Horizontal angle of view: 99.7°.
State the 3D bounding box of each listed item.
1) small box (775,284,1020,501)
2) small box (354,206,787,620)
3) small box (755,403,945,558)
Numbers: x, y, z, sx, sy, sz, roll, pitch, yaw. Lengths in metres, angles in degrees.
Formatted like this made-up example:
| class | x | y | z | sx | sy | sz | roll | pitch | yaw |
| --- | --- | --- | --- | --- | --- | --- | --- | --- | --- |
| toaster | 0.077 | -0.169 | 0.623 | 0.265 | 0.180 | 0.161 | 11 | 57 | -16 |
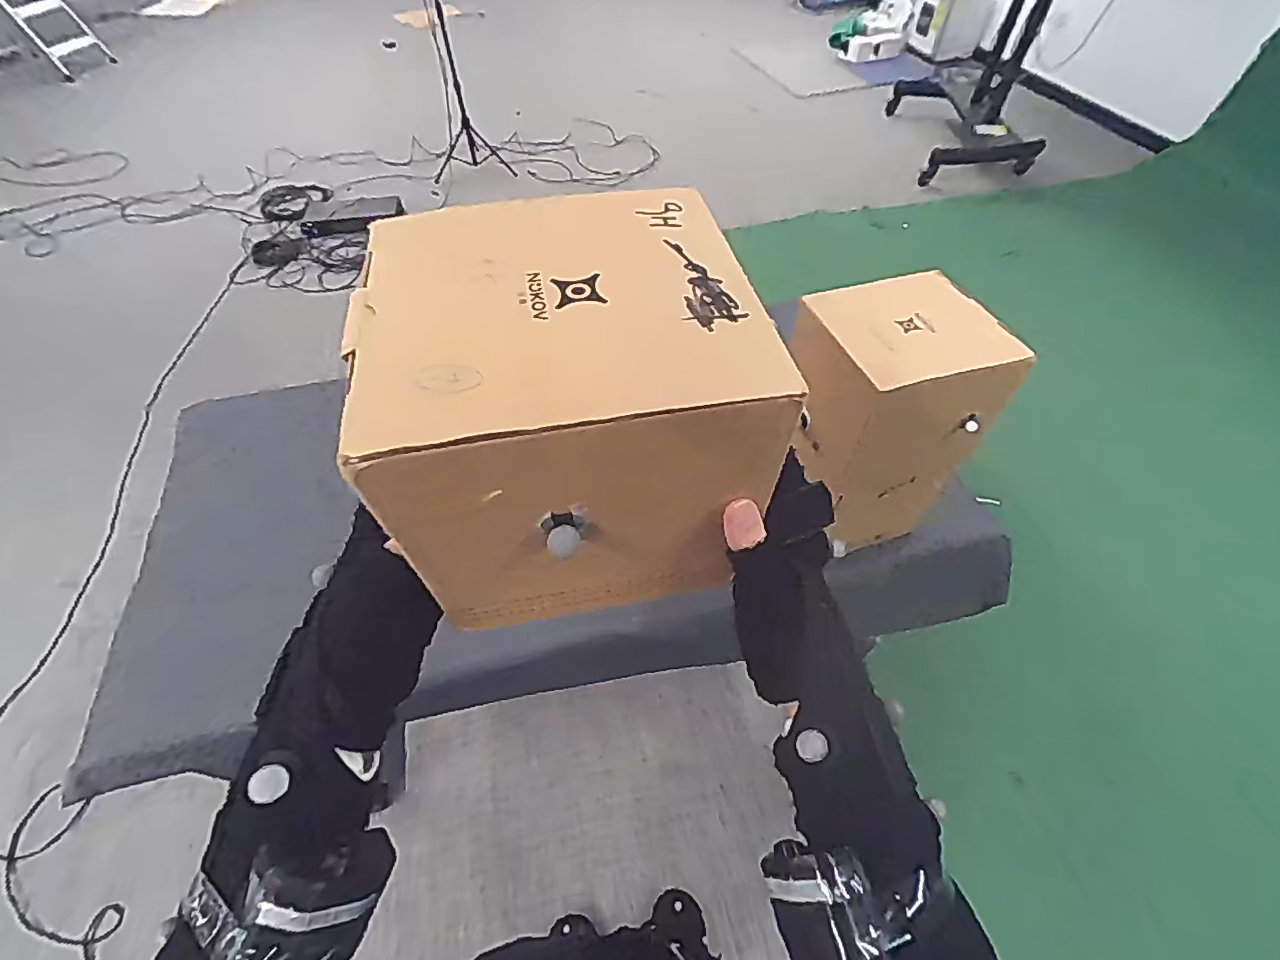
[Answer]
| class | x | y | z | sx | sy | sz | roll | pitch | yaw |
| --- | --- | --- | --- | --- | --- | --- | --- | --- | --- |
| small box | 0.281 | -0.101 | 0.639 | 0.179 | 0.176 | 0.168 | -14 | 51 | -8 |
| small box | -0.037 | -0.033 | 0.321 | 0.179 | 0.176 | 0.168 | -9 | 54 | -7 |
| small box | 0.282 | -0.008 | 0.772 | 0.168 | 0.176 | 0.179 | -15 | 52 | -11 |
